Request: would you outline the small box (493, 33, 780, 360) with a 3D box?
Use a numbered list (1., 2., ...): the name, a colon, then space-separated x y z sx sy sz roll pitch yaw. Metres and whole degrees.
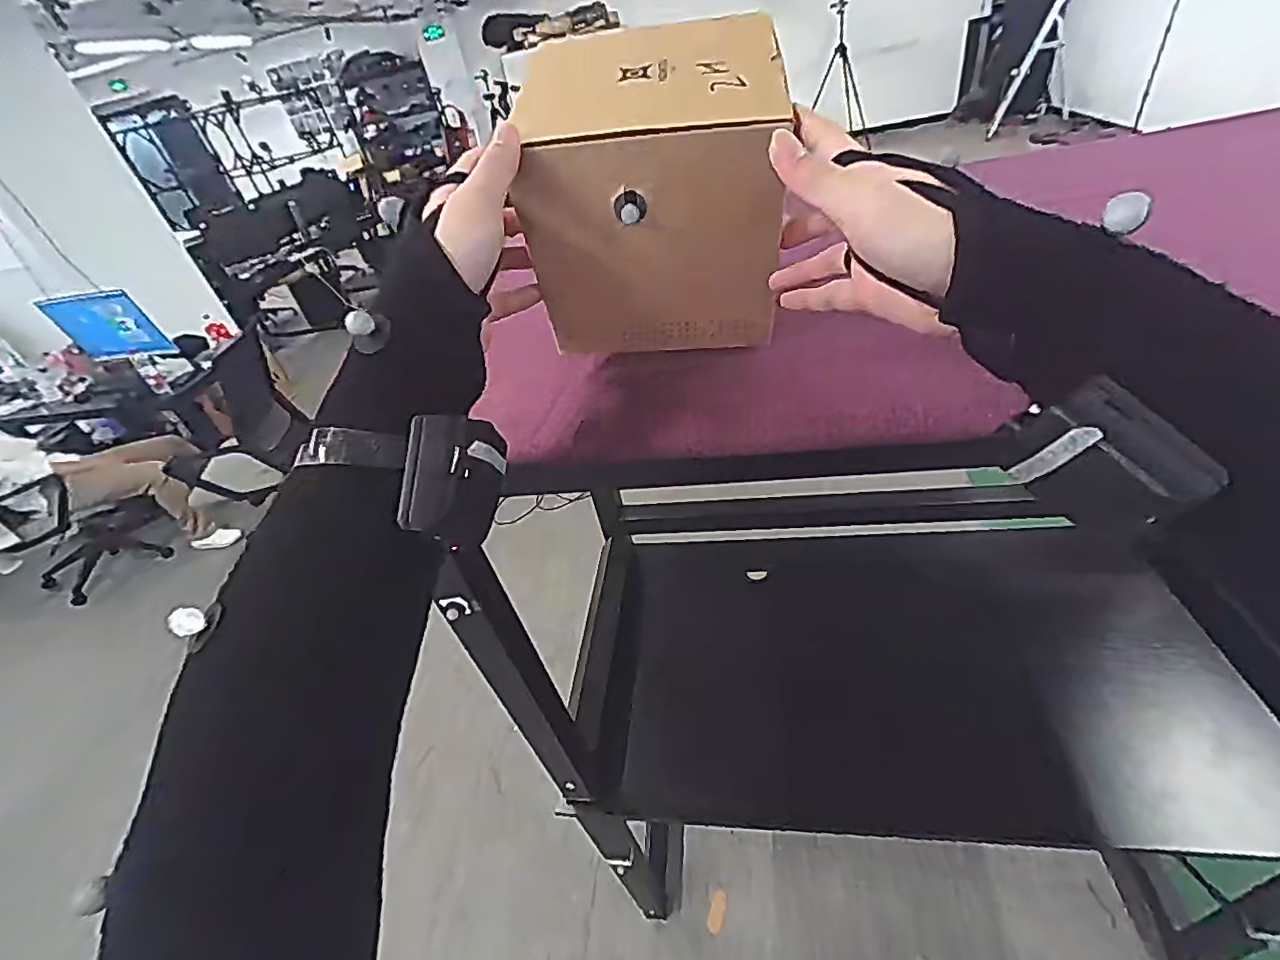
1. small box: 0.011 -0.210 0.426 0.179 0.176 0.168 -1 56 8
